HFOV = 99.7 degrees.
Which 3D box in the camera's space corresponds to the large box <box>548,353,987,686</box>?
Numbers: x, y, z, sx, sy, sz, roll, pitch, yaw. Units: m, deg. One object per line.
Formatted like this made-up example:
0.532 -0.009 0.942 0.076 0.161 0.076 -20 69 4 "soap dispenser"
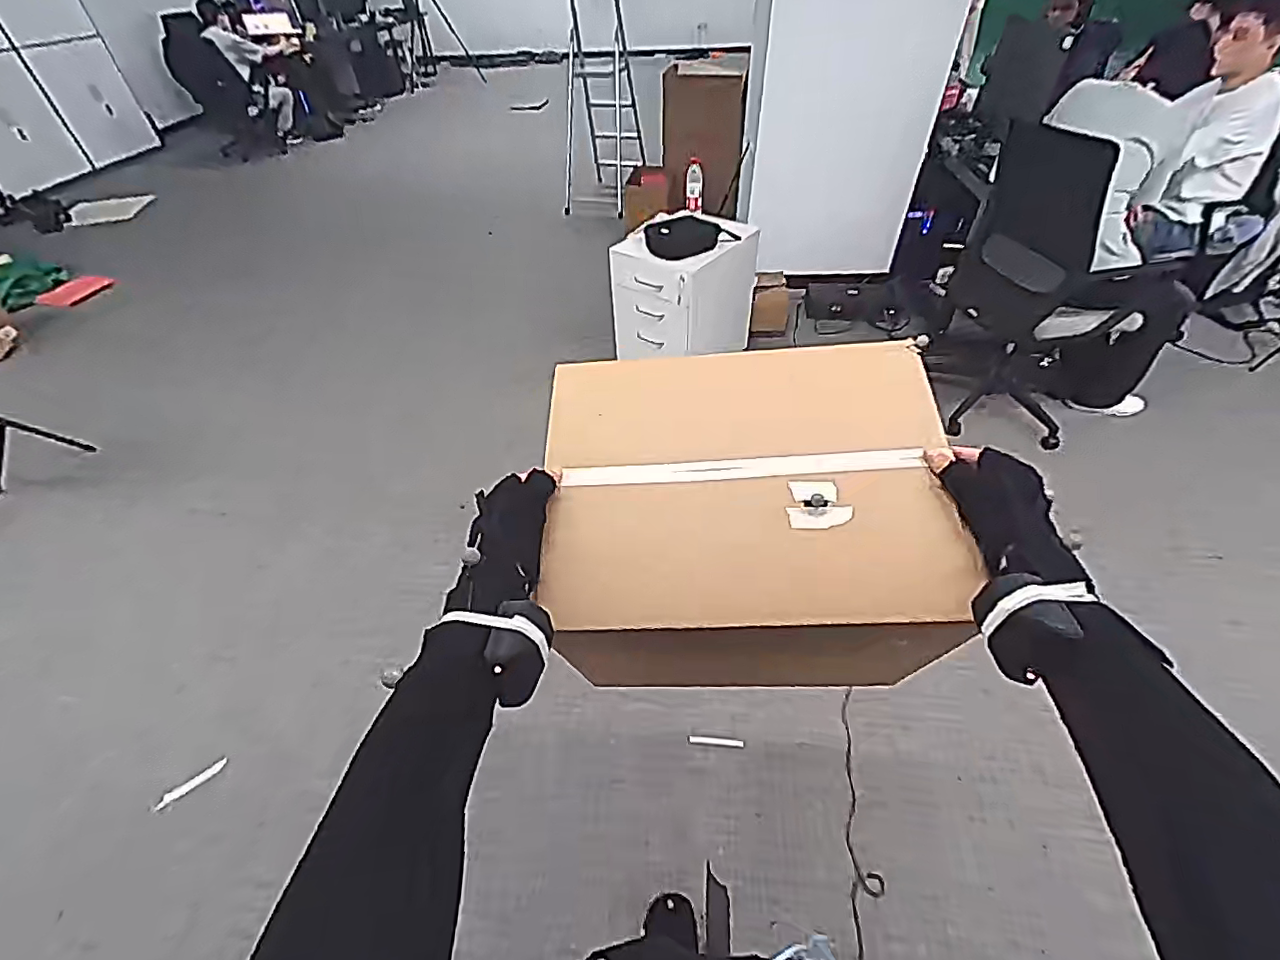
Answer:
0.122 0.071 0.689 0.408 0.320 0.320 -3 61 5 "large box"
